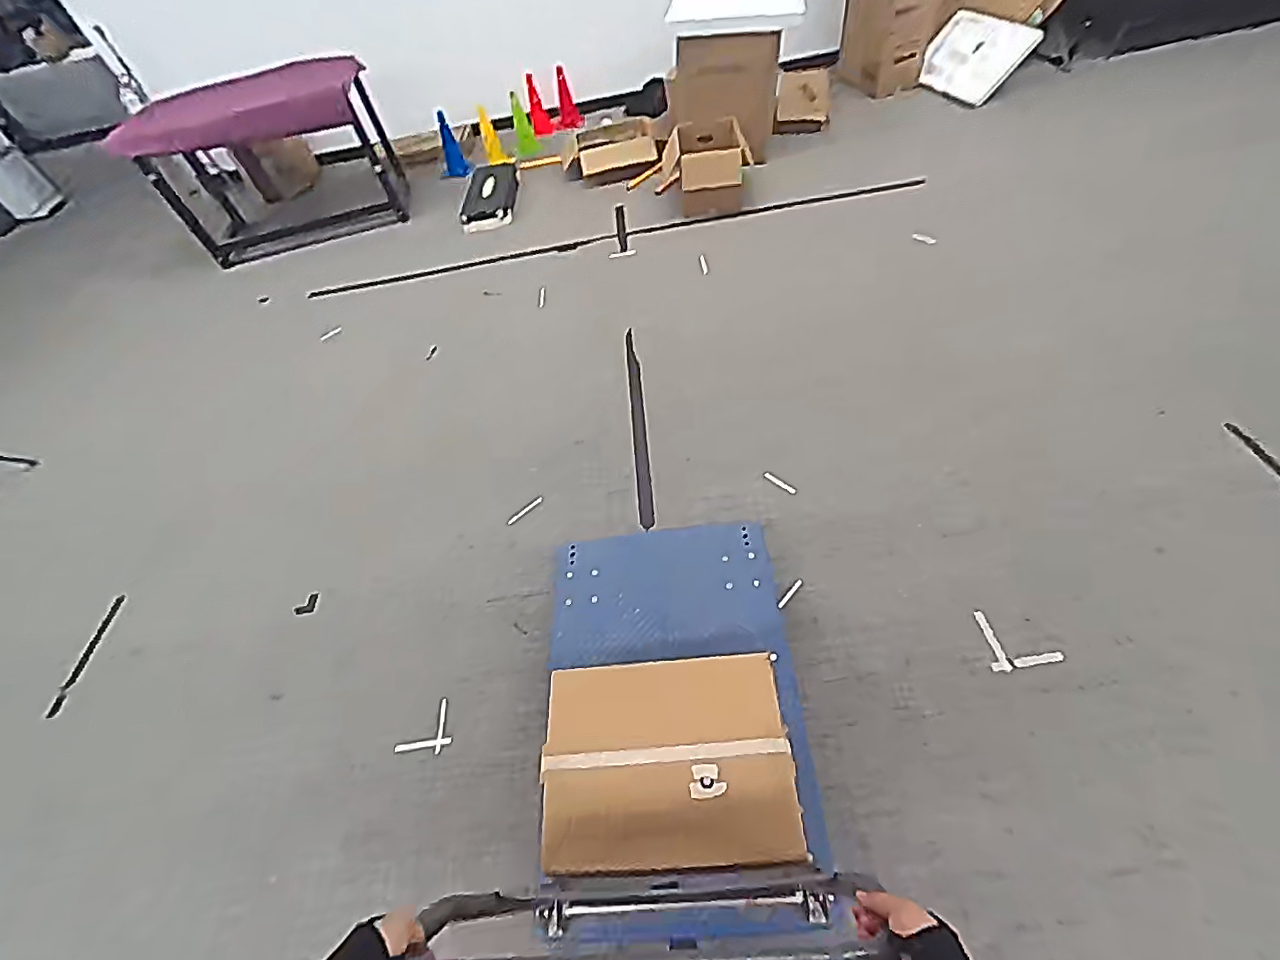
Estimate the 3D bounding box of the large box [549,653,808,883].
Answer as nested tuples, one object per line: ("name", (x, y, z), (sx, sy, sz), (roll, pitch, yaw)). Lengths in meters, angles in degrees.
("large box", (0.064, 0.551, 1.021), (0.408, 0.320, 0.320), (-7, 52, 4))
